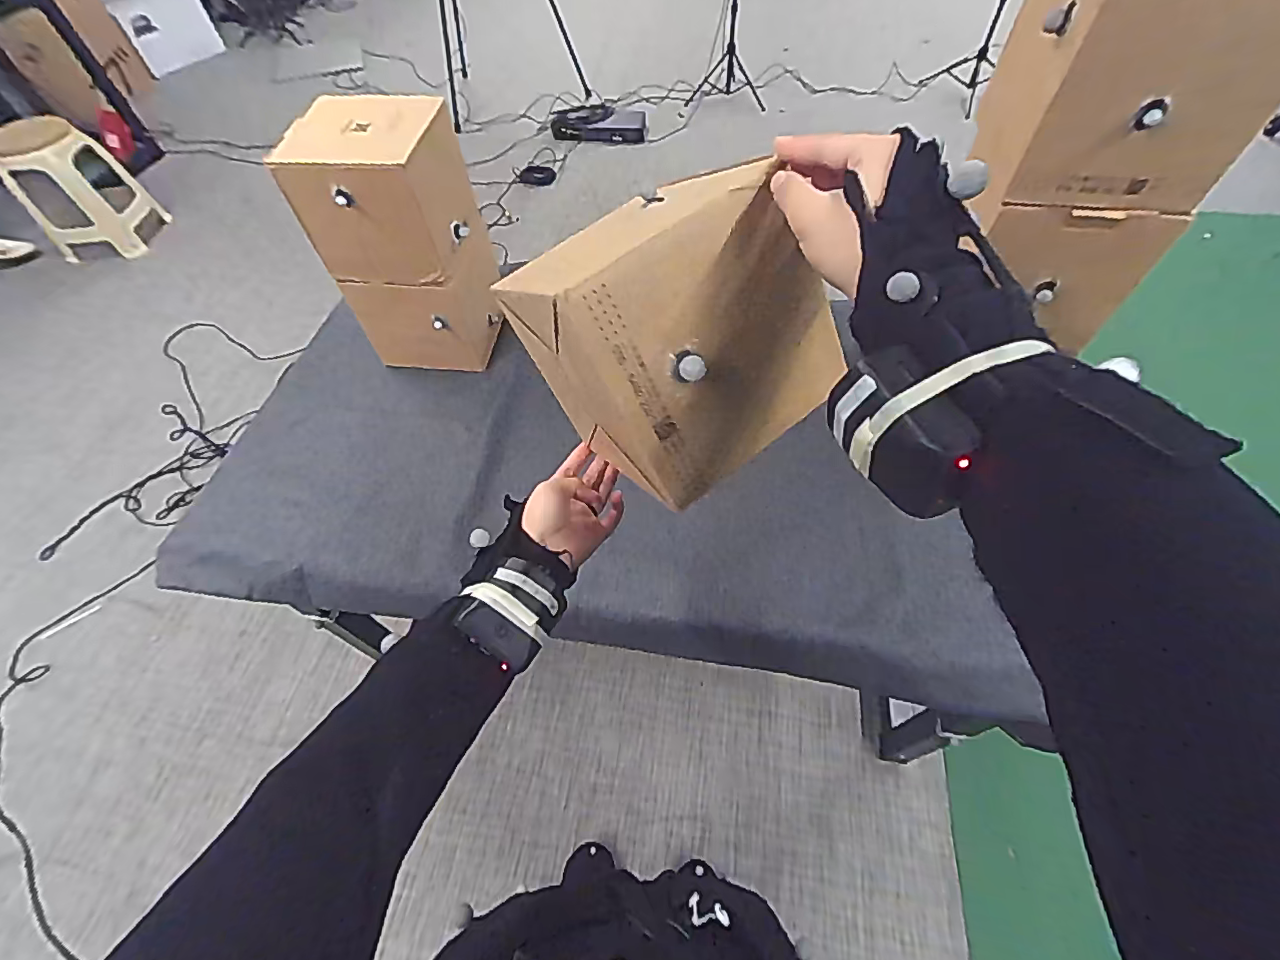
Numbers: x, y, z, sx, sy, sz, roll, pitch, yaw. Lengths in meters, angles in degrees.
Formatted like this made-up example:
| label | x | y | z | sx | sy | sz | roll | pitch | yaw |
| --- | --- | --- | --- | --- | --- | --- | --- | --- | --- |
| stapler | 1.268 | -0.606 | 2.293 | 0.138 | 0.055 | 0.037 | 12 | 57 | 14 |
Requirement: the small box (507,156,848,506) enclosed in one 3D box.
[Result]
| label | x | y | z | sx | sy | sz | roll | pitch | yaw |
| --- | --- | --- | --- | --- | --- | --- | --- | --- | --- |
| small box | 0.018 | -0.110 | 0.413 | 0.176 | 0.168 | 0.179 | -35 | 30 | -10 |

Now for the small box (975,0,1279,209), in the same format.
| label | x | y | z | sx | sy | sz | roll | pitch | yaw |
| --- | --- | --- | --- | --- | --- | --- | --- | --- | --- |
| small box | 0.430 | -0.366 | 0.481 | 0.168 | 0.176 | 0.179 | 8 | 57 | 8 |

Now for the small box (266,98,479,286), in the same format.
| label | x | y | z | sx | sy | sz | roll | pitch | yaw |
| --- | --- | --- | --- | --- | --- | --- | --- | --- | --- |
| small box | -0.341 | -0.384 | 0.731 | 0.179 | 0.176 | 0.168 | 4 | 58 | 4 |

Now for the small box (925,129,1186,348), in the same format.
| label | x | y | z | sx | sy | sz | roll | pitch | yaw |
| --- | --- | --- | --- | --- | --- | --- | --- | --- | --- |
| small box | 0.445 | -0.274 | 0.618 | 0.168 | 0.176 | 0.179 | 9 | 59 | 9 |

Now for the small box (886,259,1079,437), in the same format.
| label | x | y | z | sx | sy | sz | roll | pitch | yaw |
| --- | --- | --- | --- | --- | --- | --- | --- | --- | --- |
| small box | 0.457 | -0.187 | 0.756 | 0.168 | 0.176 | 0.179 | 9 | 58 | 9 |
